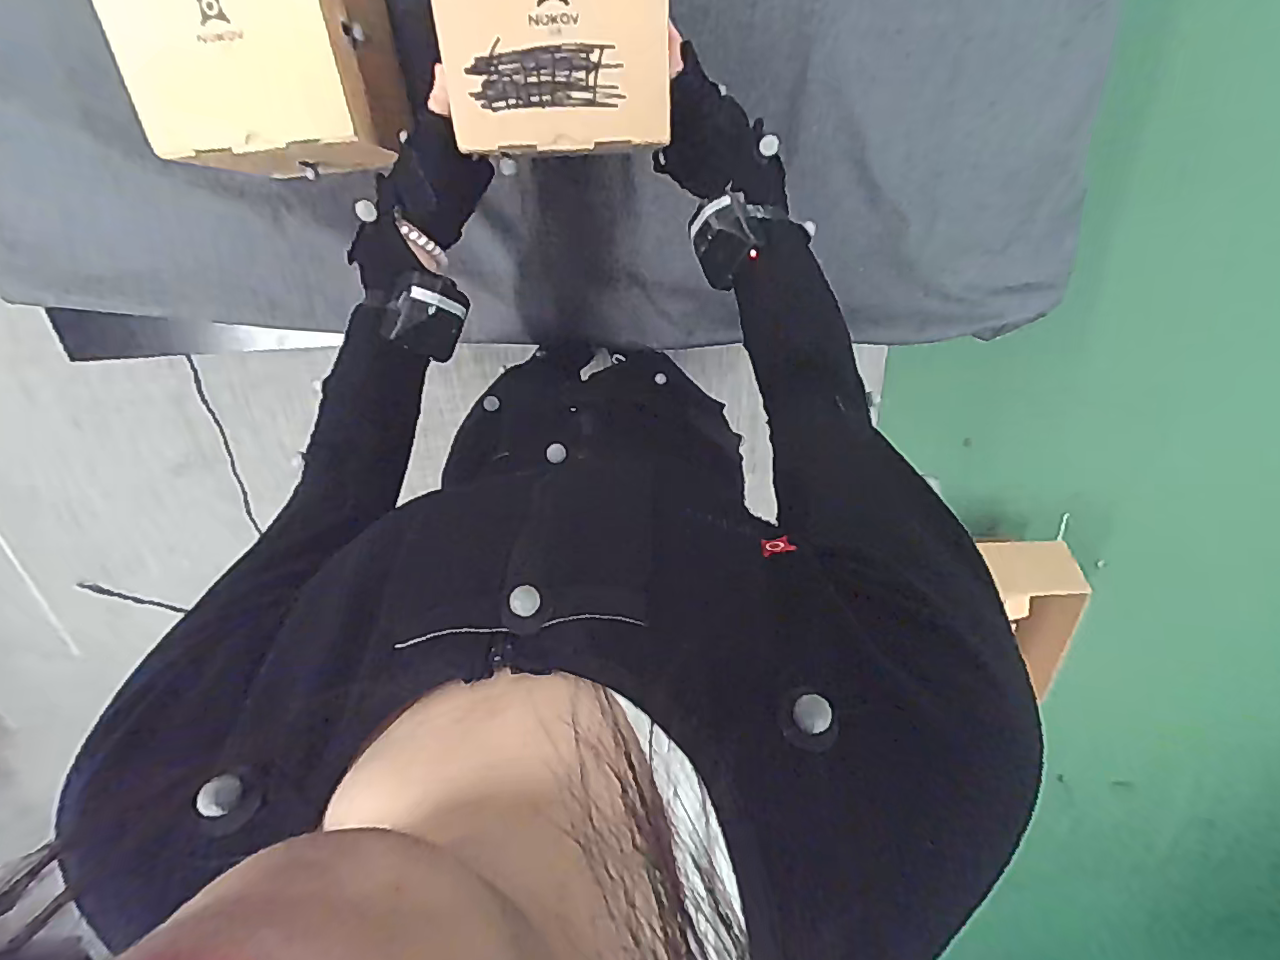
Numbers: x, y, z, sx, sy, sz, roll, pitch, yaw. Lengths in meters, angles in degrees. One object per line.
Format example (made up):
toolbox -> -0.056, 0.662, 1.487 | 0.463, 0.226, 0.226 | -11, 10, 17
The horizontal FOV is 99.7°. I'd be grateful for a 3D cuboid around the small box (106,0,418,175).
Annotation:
small box -> -0.323, -0.388, 0.487 | 0.168, 0.176, 0.179 | -6, 116, -1
